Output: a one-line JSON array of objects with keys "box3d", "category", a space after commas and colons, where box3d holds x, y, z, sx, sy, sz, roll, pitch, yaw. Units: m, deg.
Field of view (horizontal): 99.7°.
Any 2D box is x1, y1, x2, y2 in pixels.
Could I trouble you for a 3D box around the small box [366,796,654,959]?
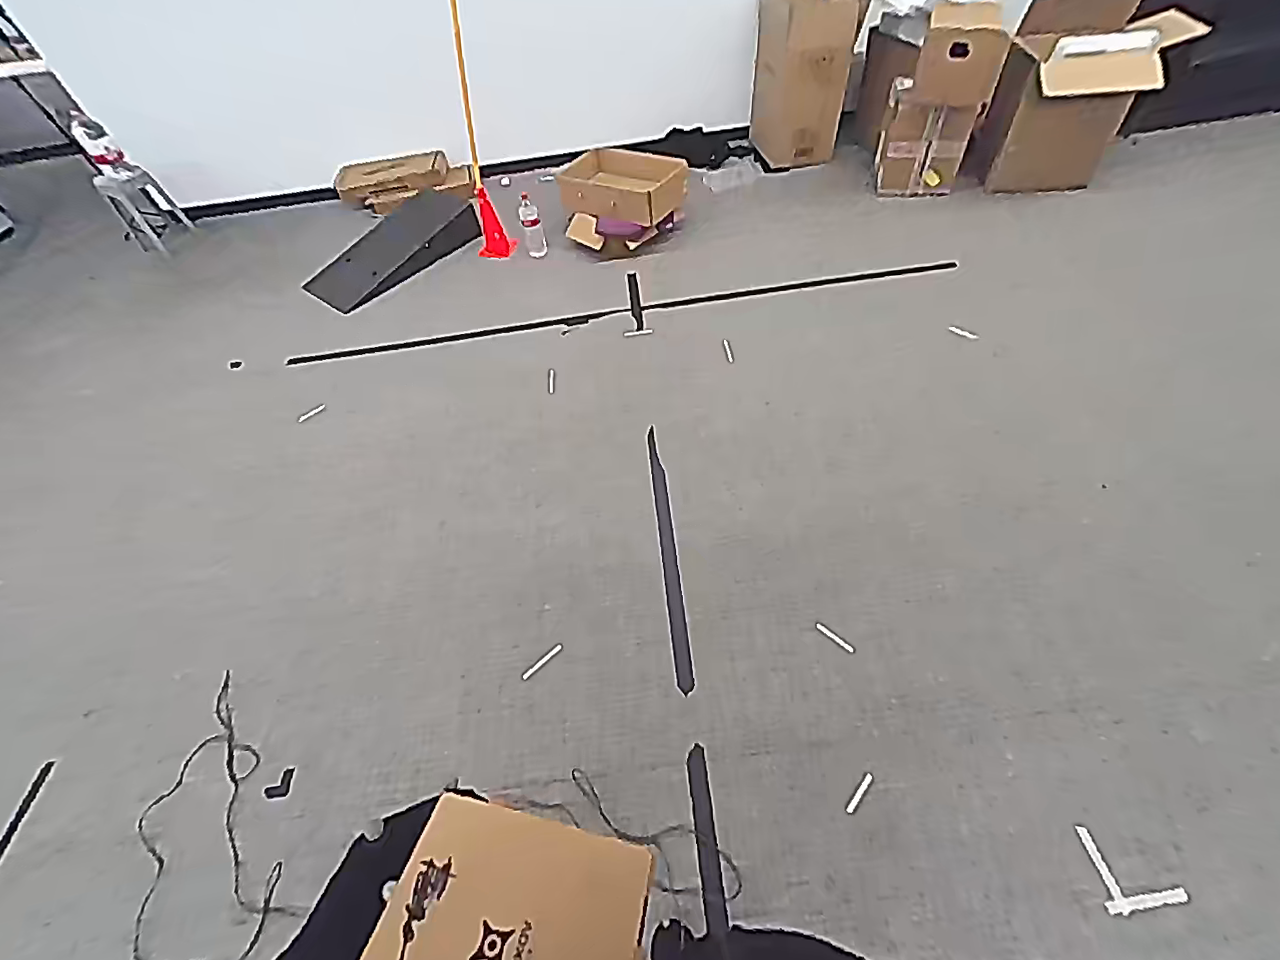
[{"box3d": [-0.099, 0.381, 0.408, 0.179, 0.176, 0.168, 12, 35, 6], "category": "small box"}]
